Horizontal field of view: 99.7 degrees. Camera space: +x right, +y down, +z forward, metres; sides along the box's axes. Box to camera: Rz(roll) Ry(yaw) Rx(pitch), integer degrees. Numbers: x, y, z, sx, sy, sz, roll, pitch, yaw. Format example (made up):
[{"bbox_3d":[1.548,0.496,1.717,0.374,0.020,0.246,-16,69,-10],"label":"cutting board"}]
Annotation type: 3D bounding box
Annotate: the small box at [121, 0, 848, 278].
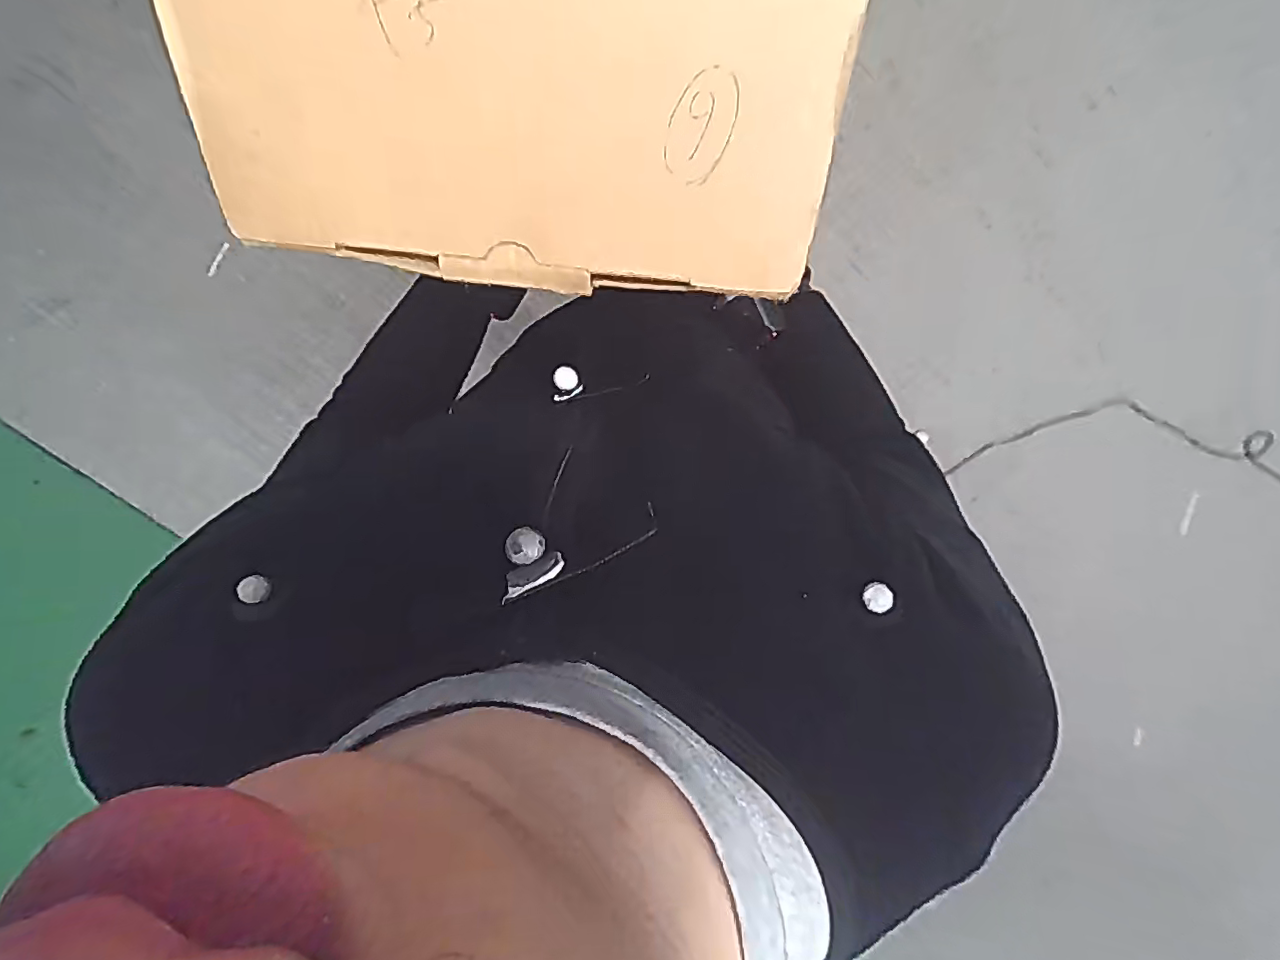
[{"bbox_3d":[-0.028,-0.180,0.167,0.168,0.176,0.179,5,124,0],"label":"small box"}]
